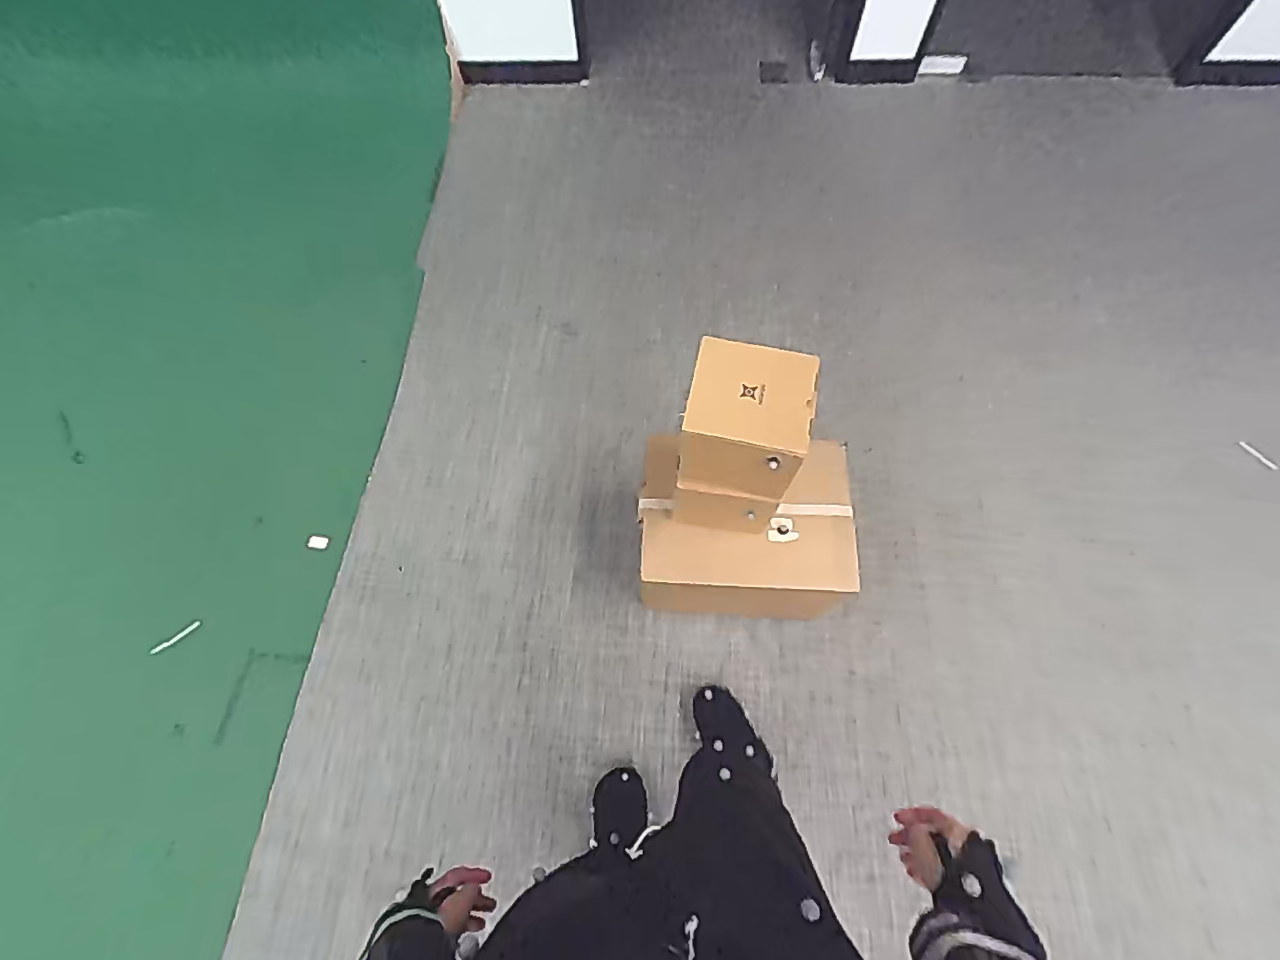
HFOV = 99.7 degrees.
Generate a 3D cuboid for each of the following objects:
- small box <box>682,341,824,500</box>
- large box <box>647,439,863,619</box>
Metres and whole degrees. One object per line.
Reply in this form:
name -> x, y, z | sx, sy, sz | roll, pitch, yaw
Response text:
small box -> 0.165, -0.084, 0.833 | 0.179, 0.176, 0.168 | 12, 67, 6
large box -> 0.218, 0.120, 1.186 | 0.408, 0.320, 0.320 | 3, 68, 2
